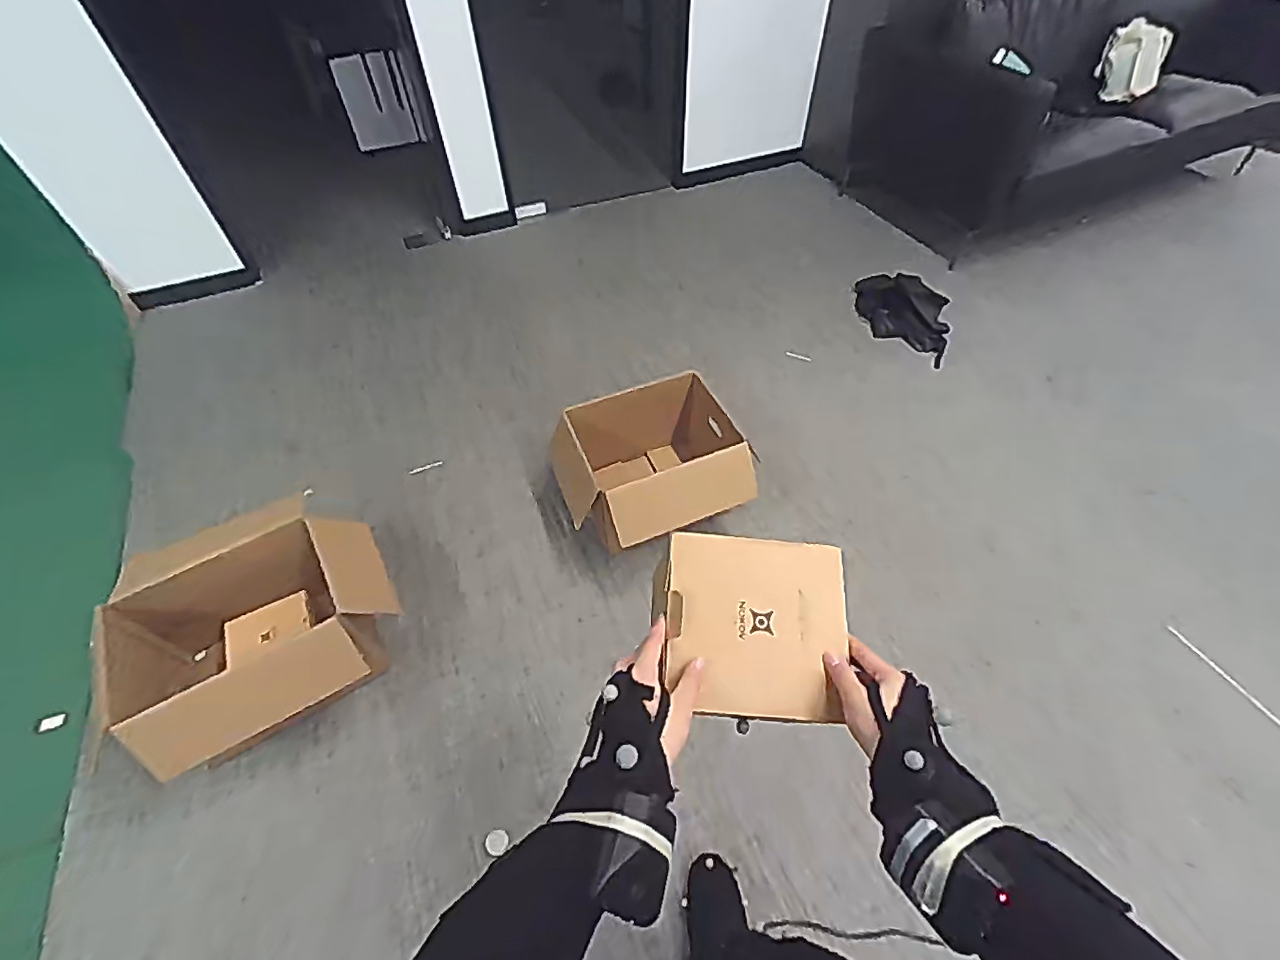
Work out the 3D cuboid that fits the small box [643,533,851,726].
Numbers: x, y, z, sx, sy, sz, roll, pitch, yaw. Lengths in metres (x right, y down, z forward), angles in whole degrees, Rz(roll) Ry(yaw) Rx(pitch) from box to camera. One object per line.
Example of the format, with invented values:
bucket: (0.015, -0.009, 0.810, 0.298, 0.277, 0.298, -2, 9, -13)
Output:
small box: (0.100, 0.166, 0.577, 0.179, 0.176, 0.168, 6, 66, -4)
